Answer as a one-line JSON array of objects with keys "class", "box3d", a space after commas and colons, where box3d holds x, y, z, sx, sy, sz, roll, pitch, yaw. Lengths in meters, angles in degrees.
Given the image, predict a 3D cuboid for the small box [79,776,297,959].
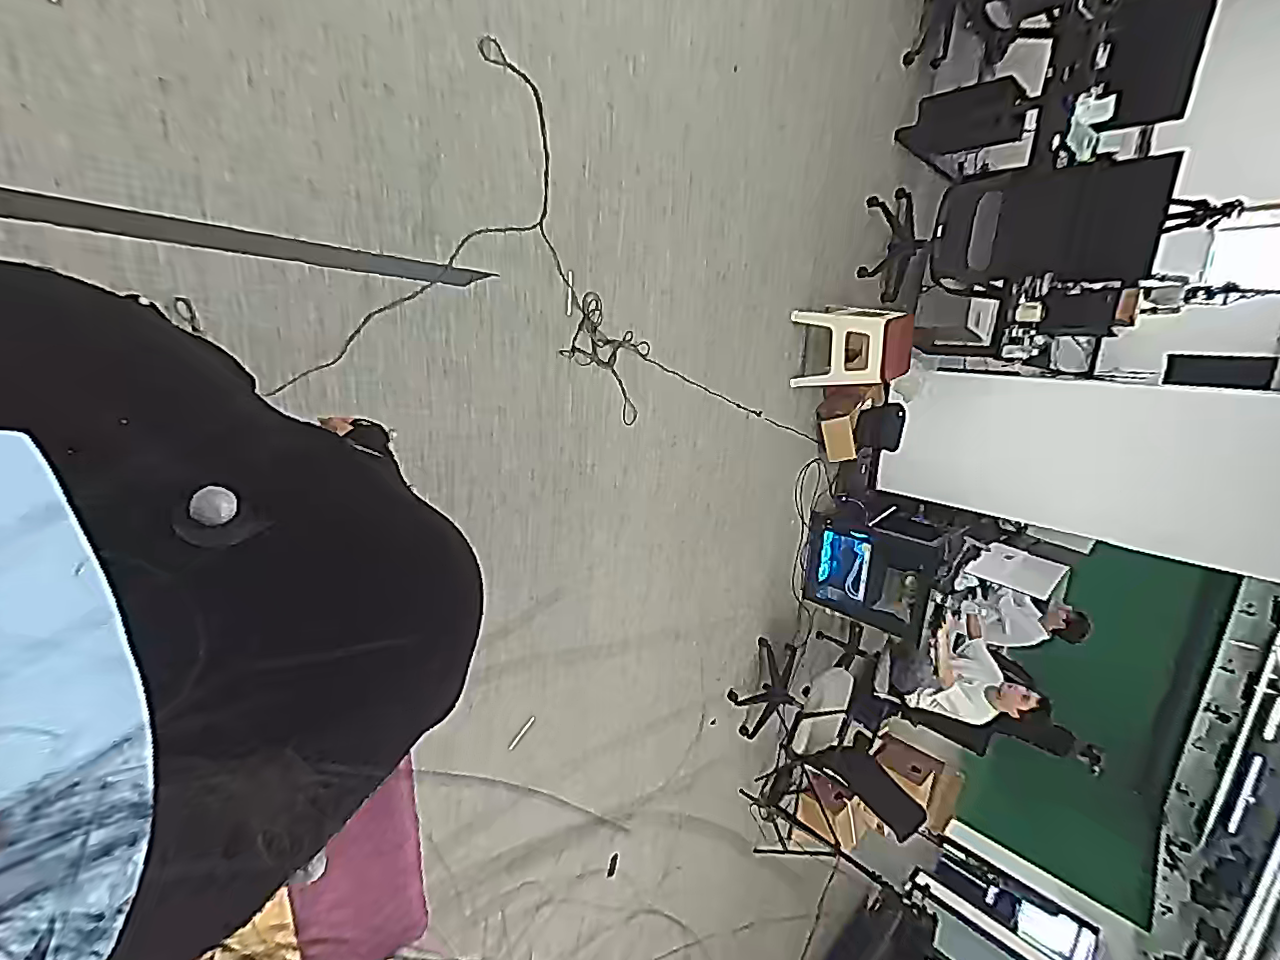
[{"class": "small box", "box3d": [-0.533, 0.507, 0.649, 0.168, 0.176, 0.179, -13, 111, -41]}]
